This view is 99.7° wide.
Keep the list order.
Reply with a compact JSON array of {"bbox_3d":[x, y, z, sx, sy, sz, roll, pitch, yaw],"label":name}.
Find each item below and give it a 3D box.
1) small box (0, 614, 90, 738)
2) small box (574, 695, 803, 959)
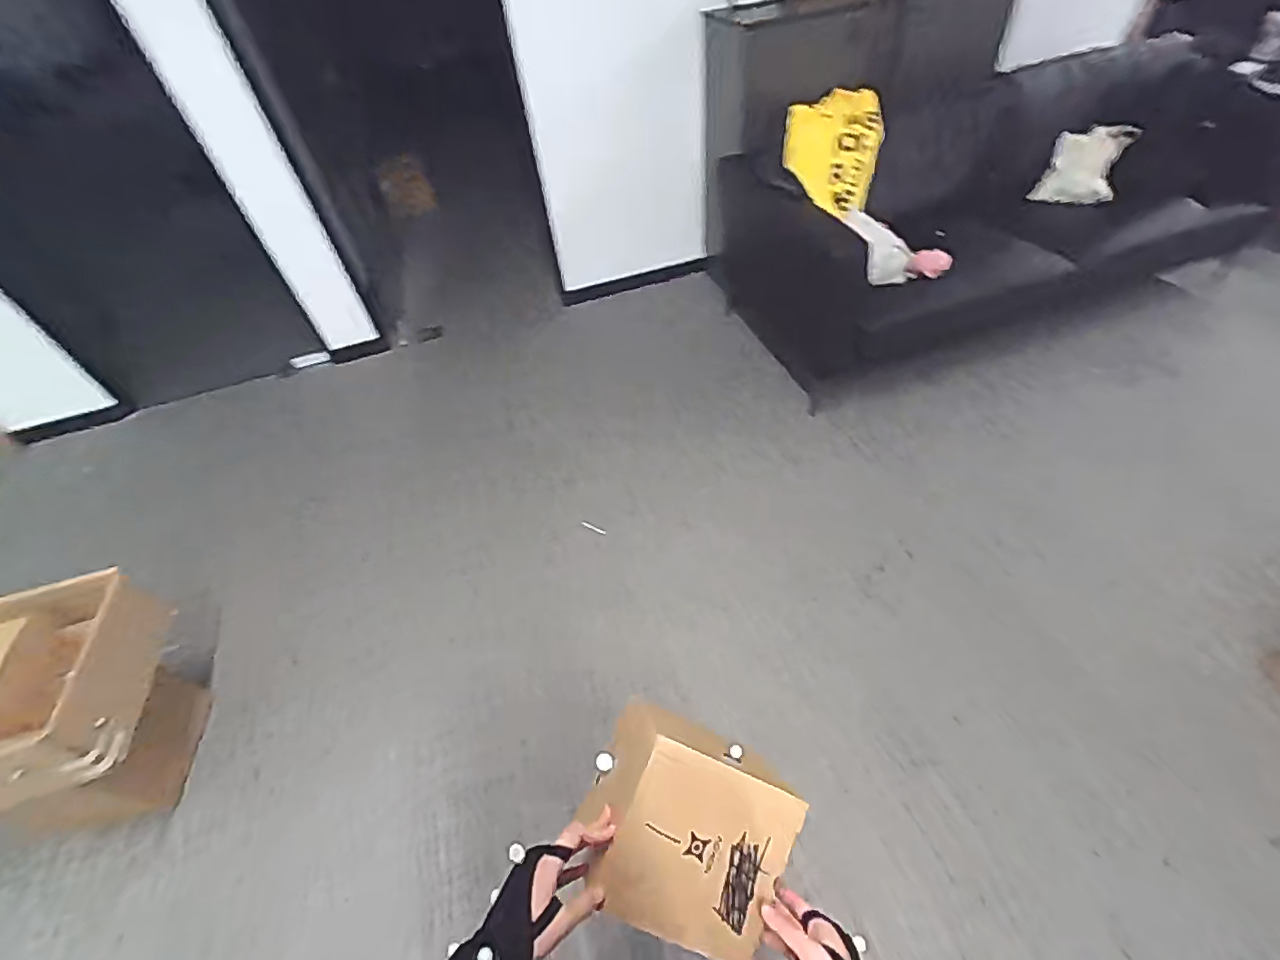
[{"bbox_3d":[-1.319,0.412,1.122,0.168,0.176,0.179,-15,48,-5],"label":"small box"},{"bbox_3d":[0.040,0.360,0.596,0.179,0.176,0.168,27,78,-5],"label":"small box"}]
